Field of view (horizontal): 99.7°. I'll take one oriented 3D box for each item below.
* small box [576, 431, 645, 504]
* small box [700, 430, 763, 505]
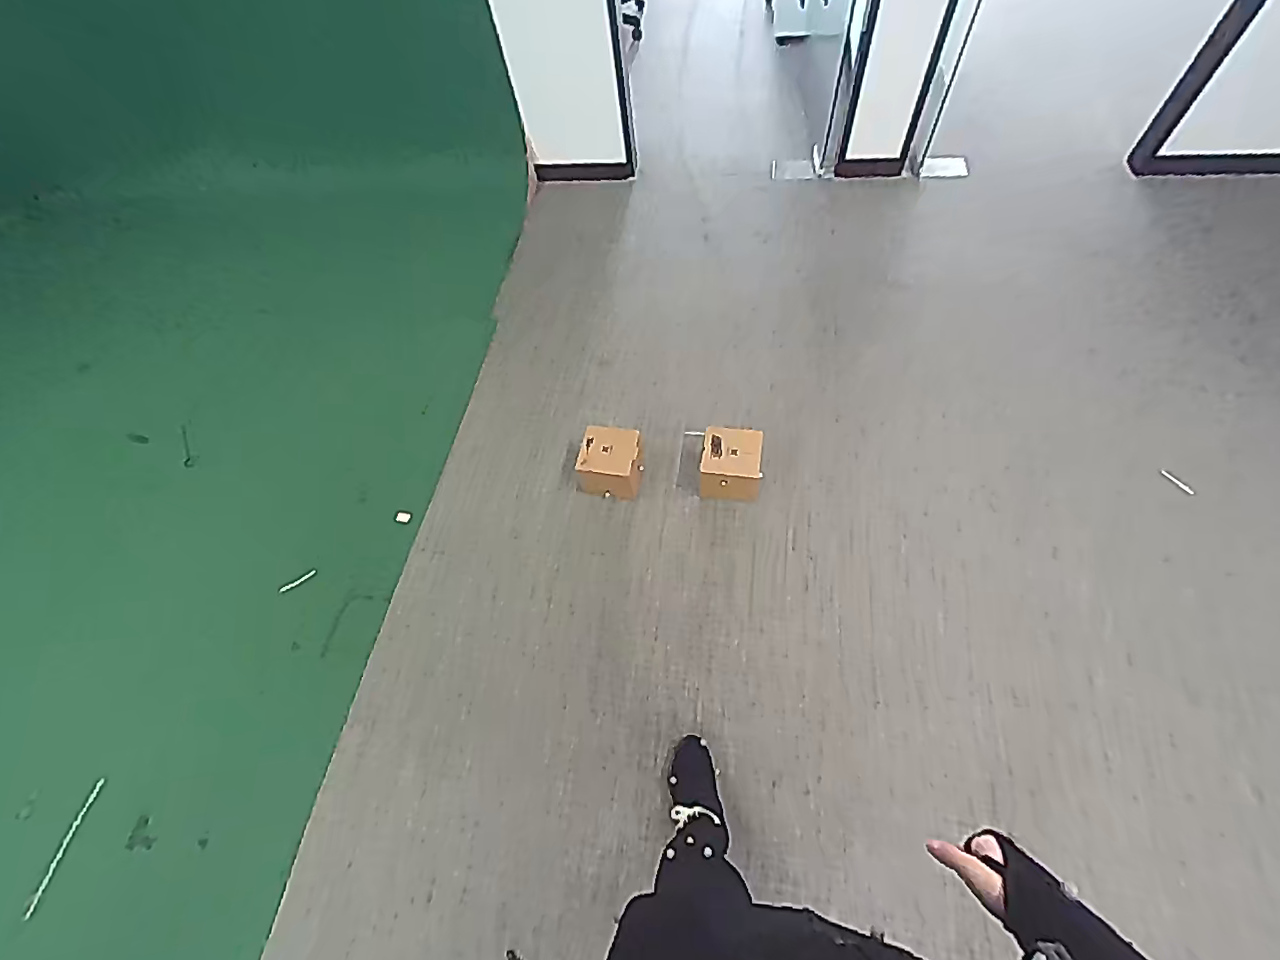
[{"bbox_3d":[-0.087,-0.036,1.733,0.179,0.176,0.168,8,62,11],"label":"small box"},{"bbox_3d":[0.284,-0.035,1.684,0.179,0.176,0.168,6,62,10],"label":"small box"}]
